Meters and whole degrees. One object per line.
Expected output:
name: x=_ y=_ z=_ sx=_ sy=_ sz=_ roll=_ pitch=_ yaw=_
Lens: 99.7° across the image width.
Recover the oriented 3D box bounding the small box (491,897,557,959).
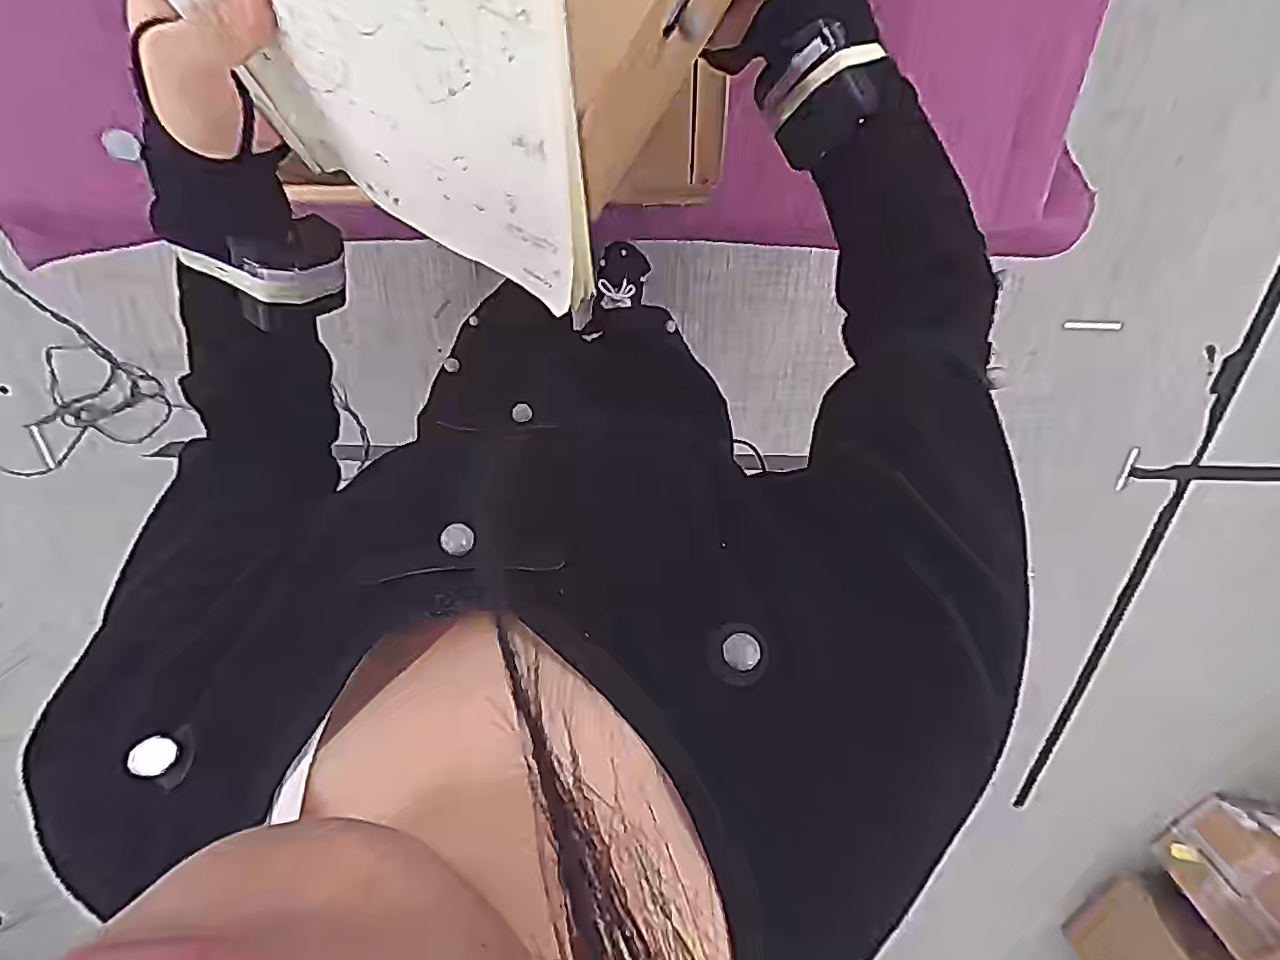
small box: x=-0.358 y=1.433 z=1.685 sx=0.179 sy=0.176 sz=0.168 roll=3 pitch=118 yaw=-4

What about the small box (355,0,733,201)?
small box: x=-0.042 y=-0.274 z=0.259 sx=0.168 sy=0.176 sz=0.179 roll=33 pitch=97 yaw=-8
